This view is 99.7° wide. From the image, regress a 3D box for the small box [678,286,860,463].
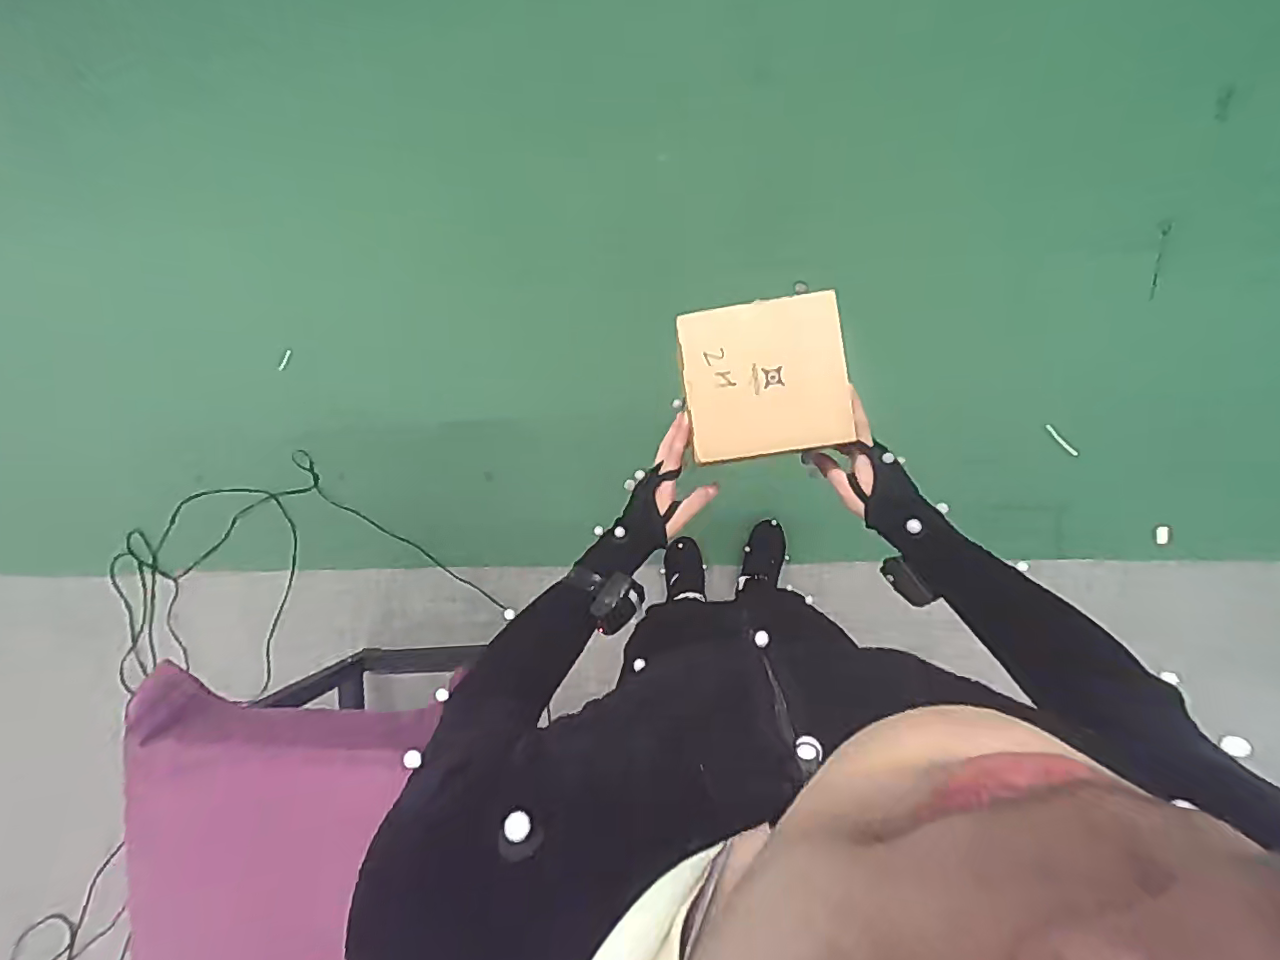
[{"bbox_3d":[0.142,-0.114,0.654,0.179,0.176,0.168,-8,88,5],"label":"small box"}]
